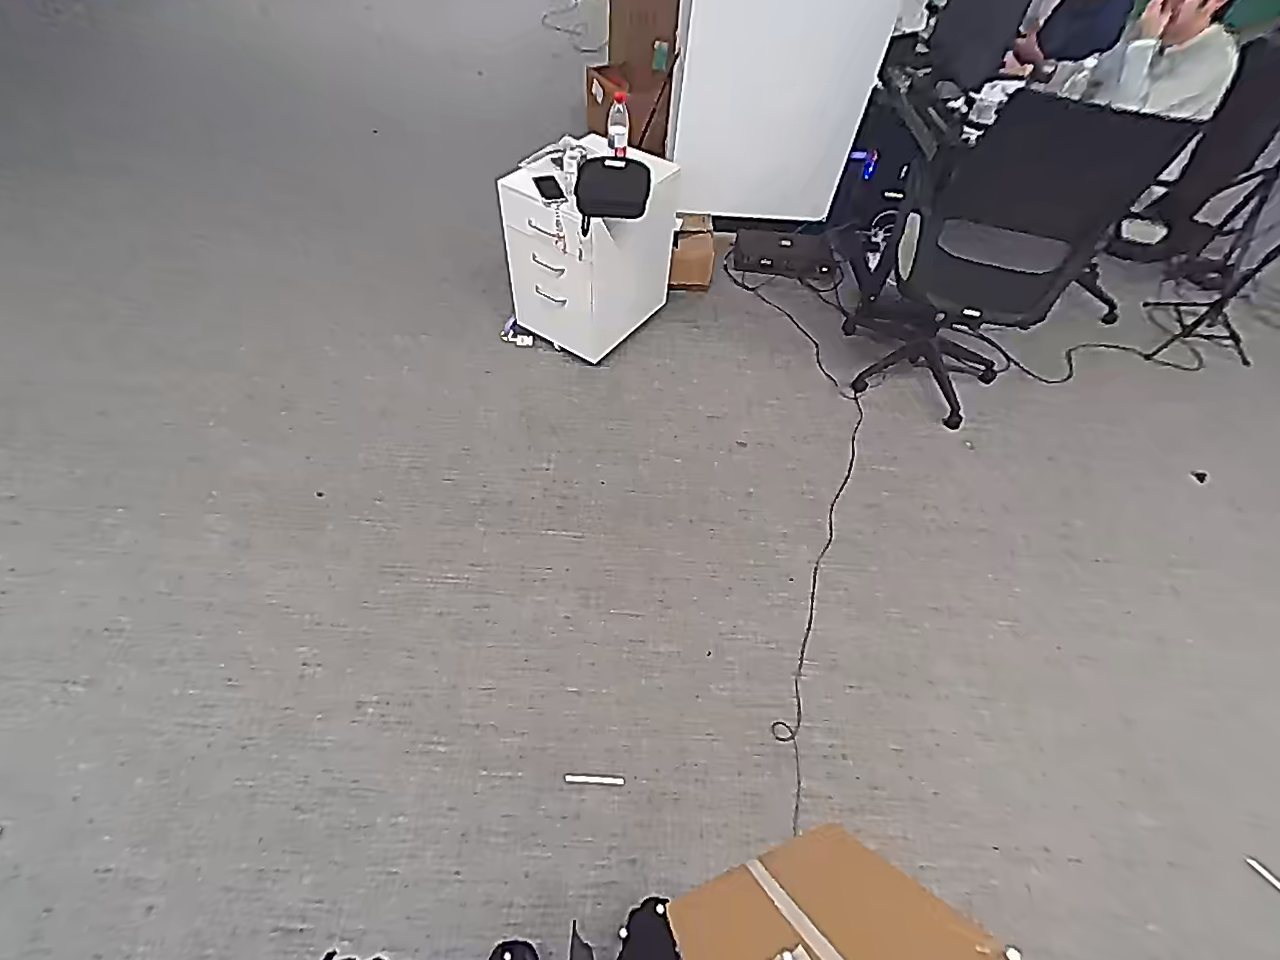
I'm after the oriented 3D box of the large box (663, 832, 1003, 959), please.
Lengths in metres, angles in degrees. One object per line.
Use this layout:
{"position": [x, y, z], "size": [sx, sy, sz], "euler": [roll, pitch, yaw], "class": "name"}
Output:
{"position": [0.255, 0.726, 0.669], "size": [0.320, 0.408, 0.320], "euler": [-17, 78, -13], "class": "large box"}
